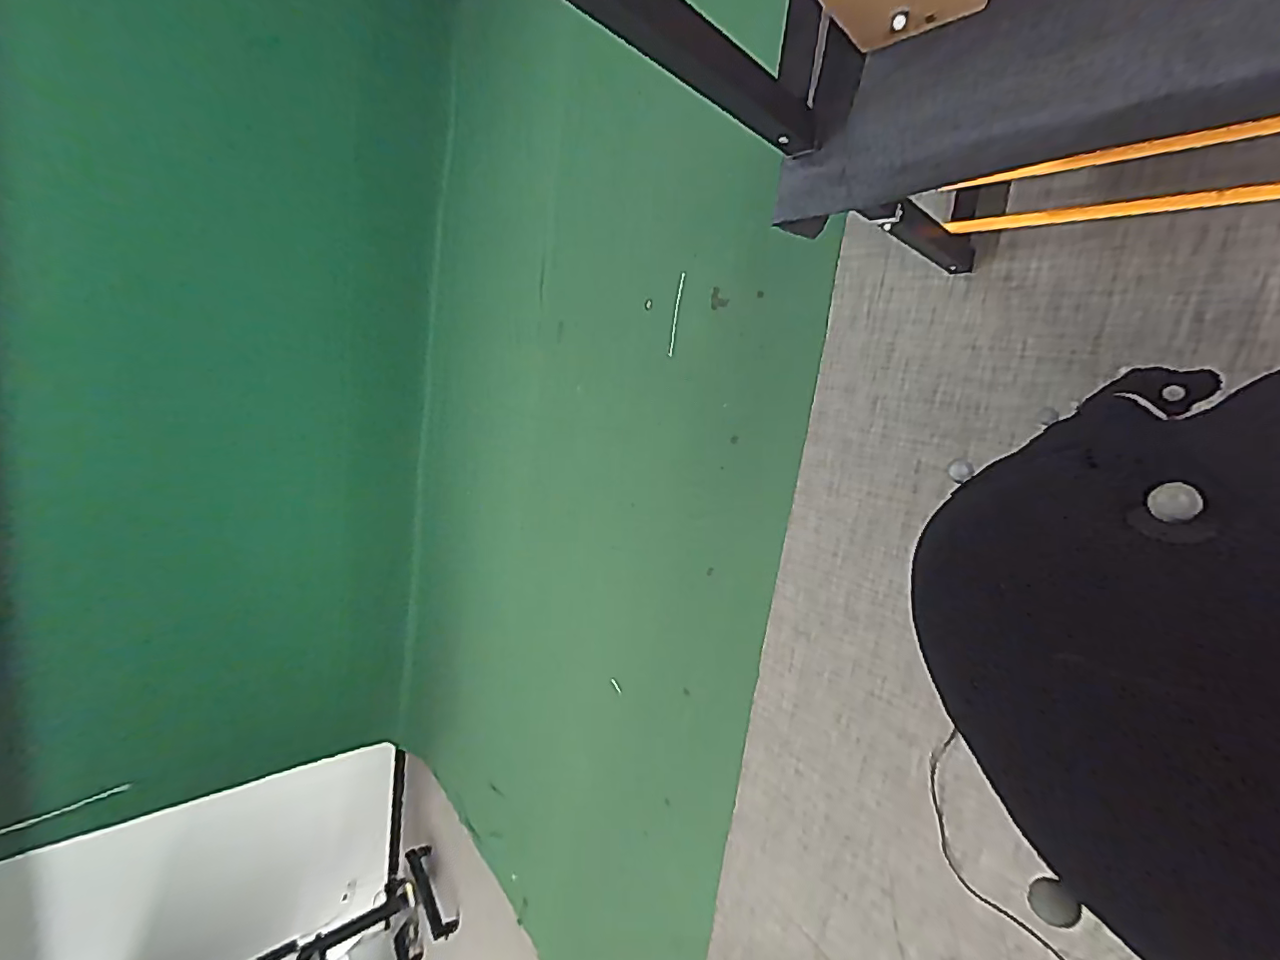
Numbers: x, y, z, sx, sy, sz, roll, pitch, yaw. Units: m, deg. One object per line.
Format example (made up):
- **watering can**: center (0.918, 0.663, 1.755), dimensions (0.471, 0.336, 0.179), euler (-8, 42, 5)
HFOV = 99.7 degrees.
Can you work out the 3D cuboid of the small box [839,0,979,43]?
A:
- **small box**: center (0.344, -0.715, 0.683), dimensions (0.168, 0.176, 0.179), euler (17, 104, 46)
